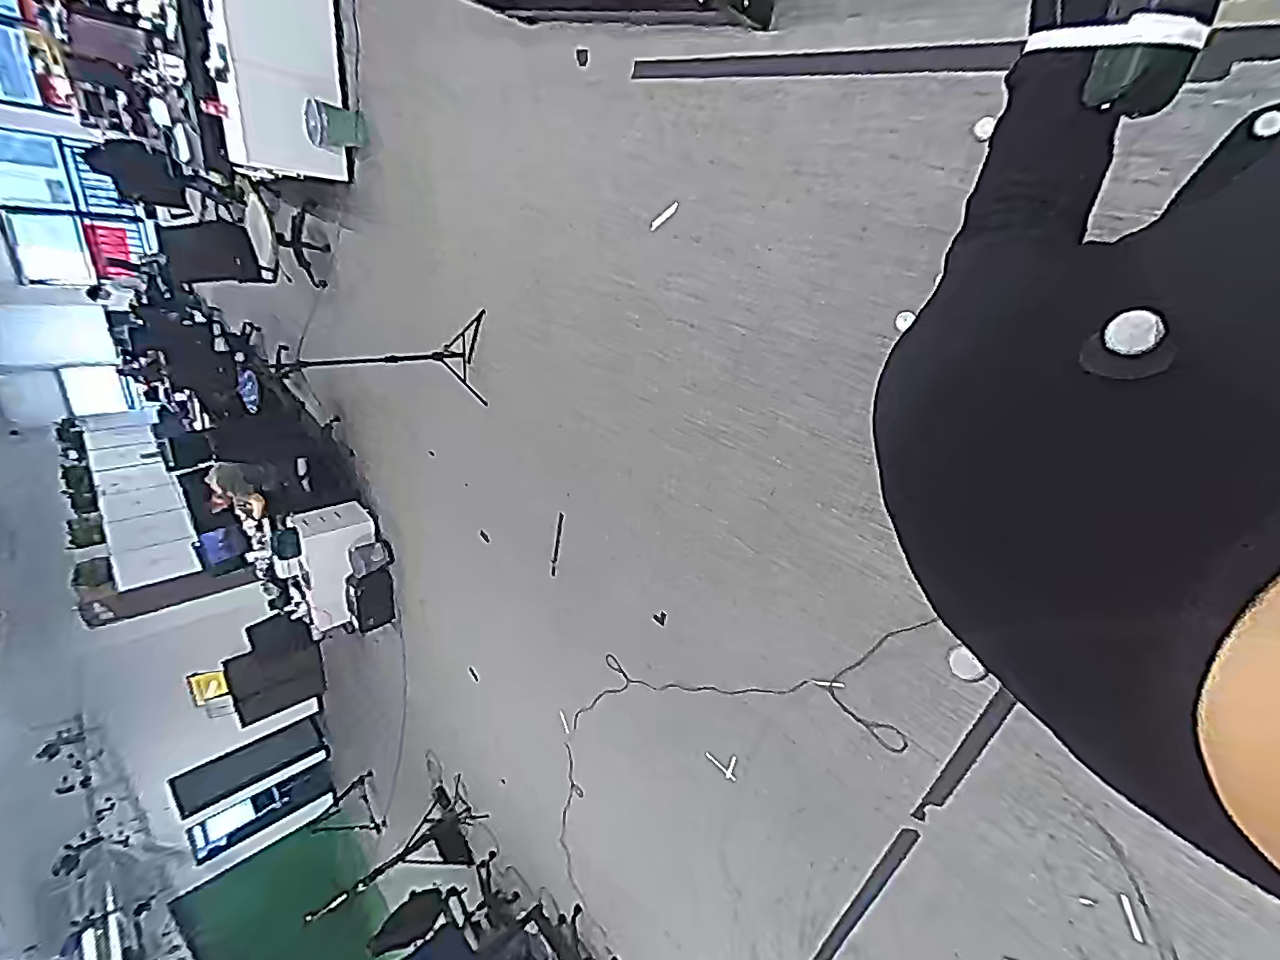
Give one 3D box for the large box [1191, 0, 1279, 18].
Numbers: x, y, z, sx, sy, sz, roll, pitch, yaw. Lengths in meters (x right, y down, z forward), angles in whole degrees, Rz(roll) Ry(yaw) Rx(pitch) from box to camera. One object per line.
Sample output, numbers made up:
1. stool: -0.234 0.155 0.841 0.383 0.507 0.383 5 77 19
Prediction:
1. large box: 0.540 -0.429 0.207 0.408 0.320 0.320 22 133 38
